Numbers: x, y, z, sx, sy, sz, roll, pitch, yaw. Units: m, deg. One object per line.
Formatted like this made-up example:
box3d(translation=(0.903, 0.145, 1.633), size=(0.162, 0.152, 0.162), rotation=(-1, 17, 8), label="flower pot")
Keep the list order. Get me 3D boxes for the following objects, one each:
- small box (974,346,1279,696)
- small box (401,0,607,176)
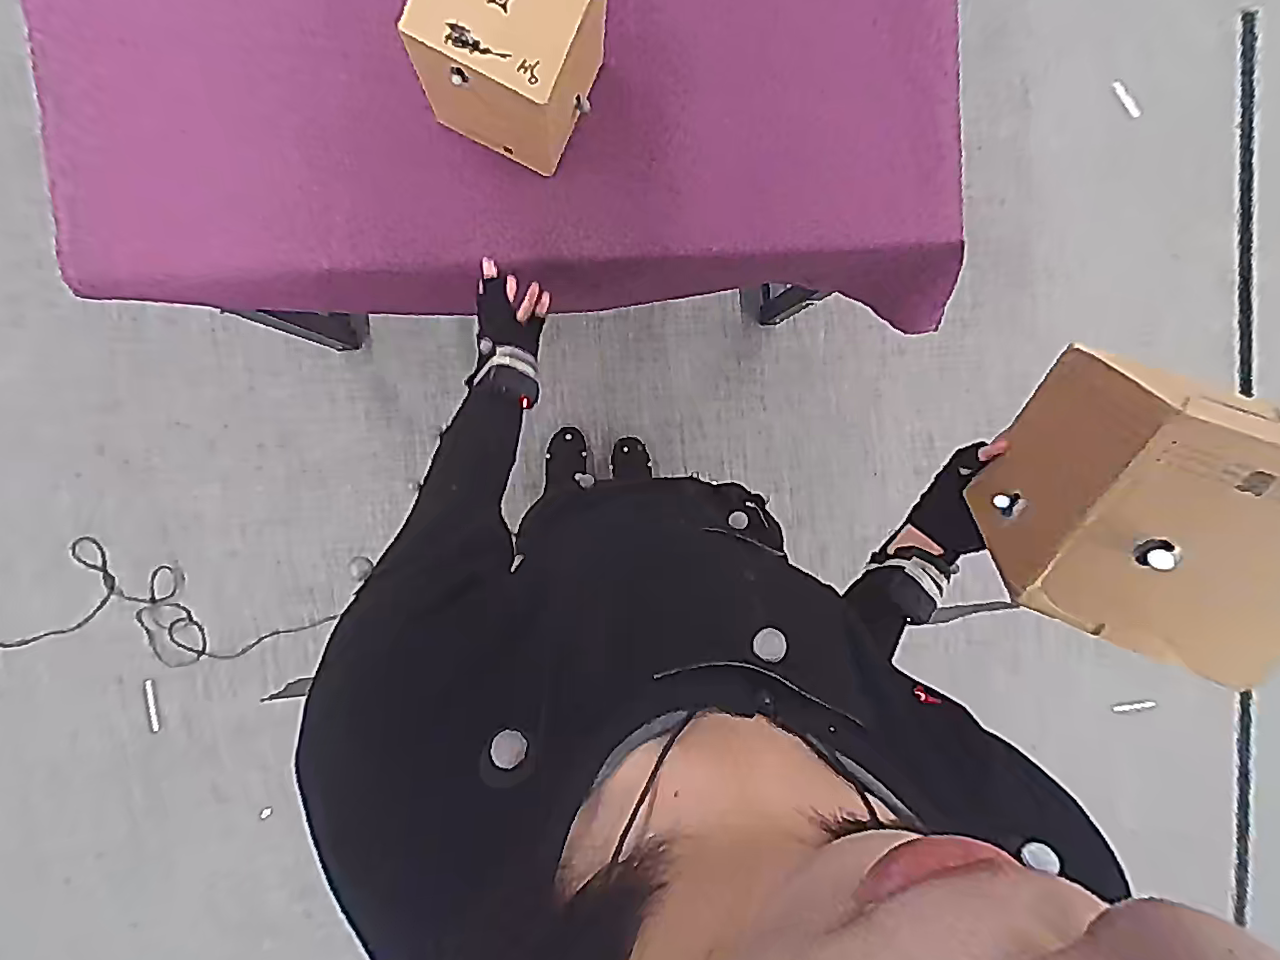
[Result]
box3d(translation=(0.397, 0.015, 0.406), size=(0.168, 0.179, 0.176), rotation=(22, 122, 7), label="small box")
box3d(translation=(-0.148, -0.510, 0.637), size=(0.168, 0.176, 0.179), rotation=(24, 90, -8), label="small box")
